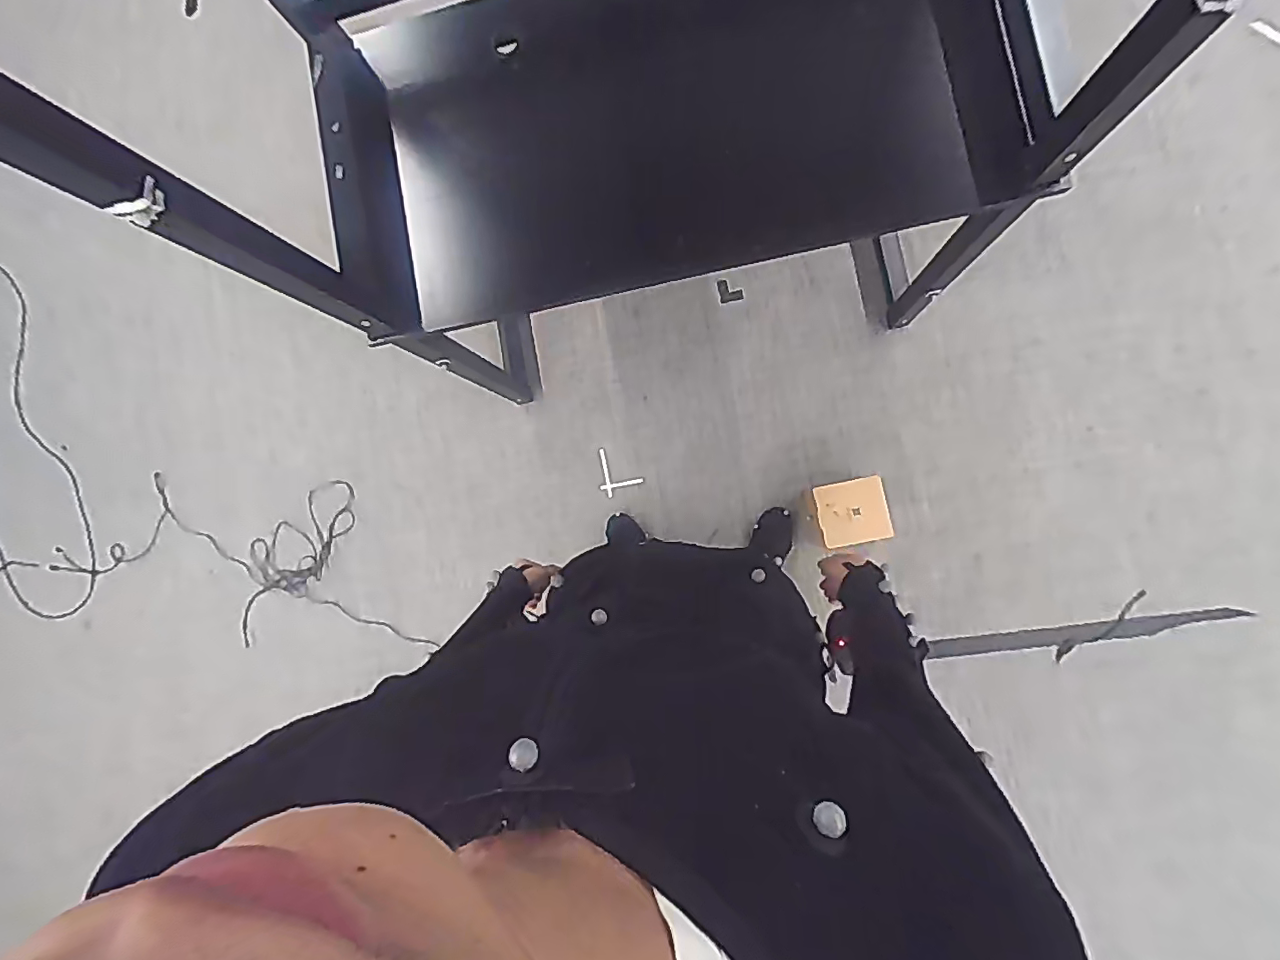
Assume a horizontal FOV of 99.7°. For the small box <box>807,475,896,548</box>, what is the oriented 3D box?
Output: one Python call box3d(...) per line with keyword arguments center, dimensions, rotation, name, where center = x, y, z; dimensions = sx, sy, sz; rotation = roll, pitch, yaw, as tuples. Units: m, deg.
box3d(center=(0.570, 0.084, 1.478), dimensions=(0.179, 0.176, 0.168), rotation=(-12, 86, 9), name="small box")
